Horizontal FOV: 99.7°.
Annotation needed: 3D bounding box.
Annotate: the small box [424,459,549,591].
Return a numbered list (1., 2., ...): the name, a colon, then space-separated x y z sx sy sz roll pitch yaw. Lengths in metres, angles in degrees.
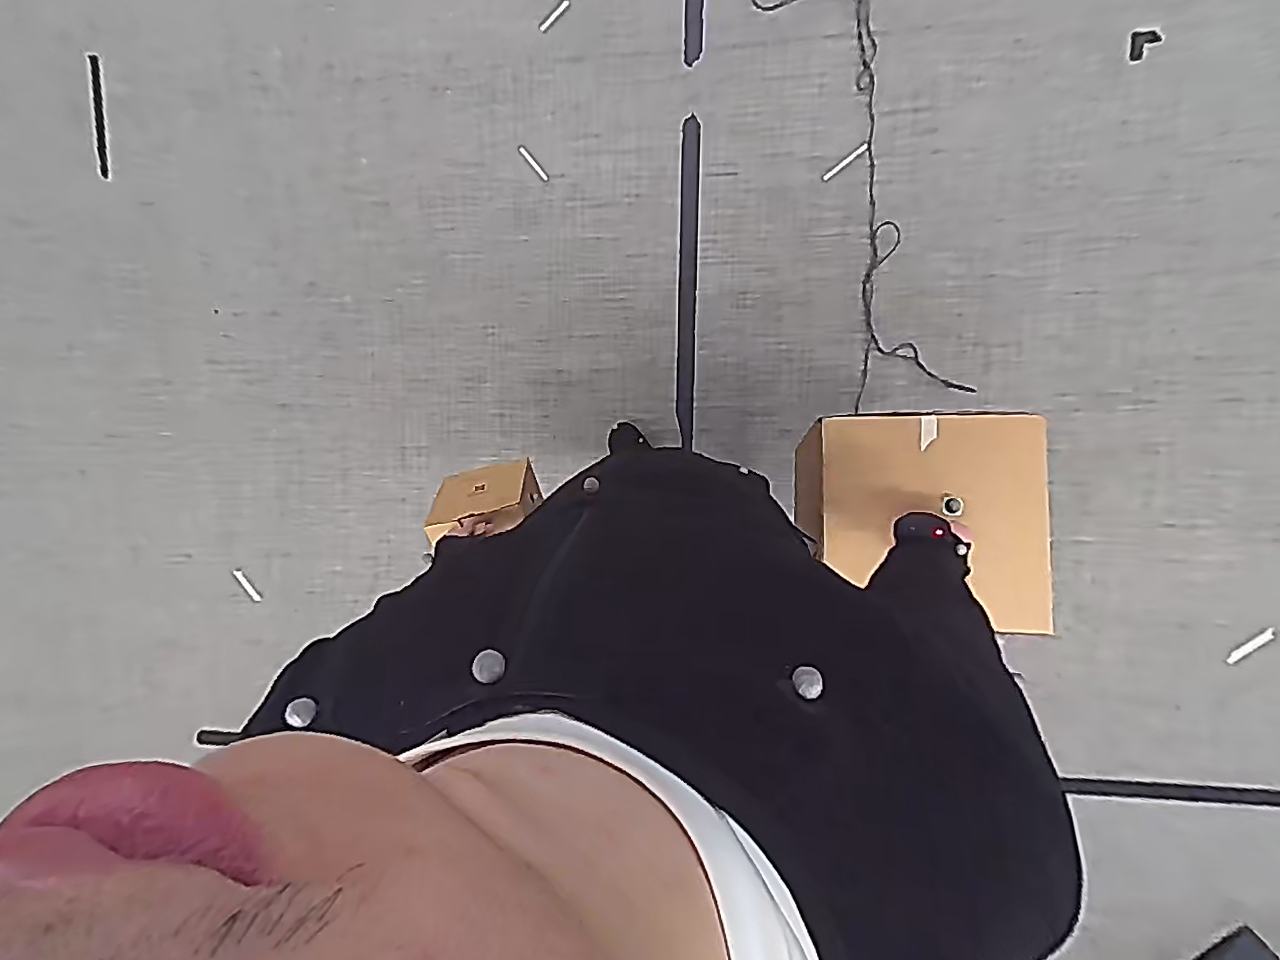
1. small box: -0.272 0.087 1.005 0.168 0.179 0.176 -13 119 0
